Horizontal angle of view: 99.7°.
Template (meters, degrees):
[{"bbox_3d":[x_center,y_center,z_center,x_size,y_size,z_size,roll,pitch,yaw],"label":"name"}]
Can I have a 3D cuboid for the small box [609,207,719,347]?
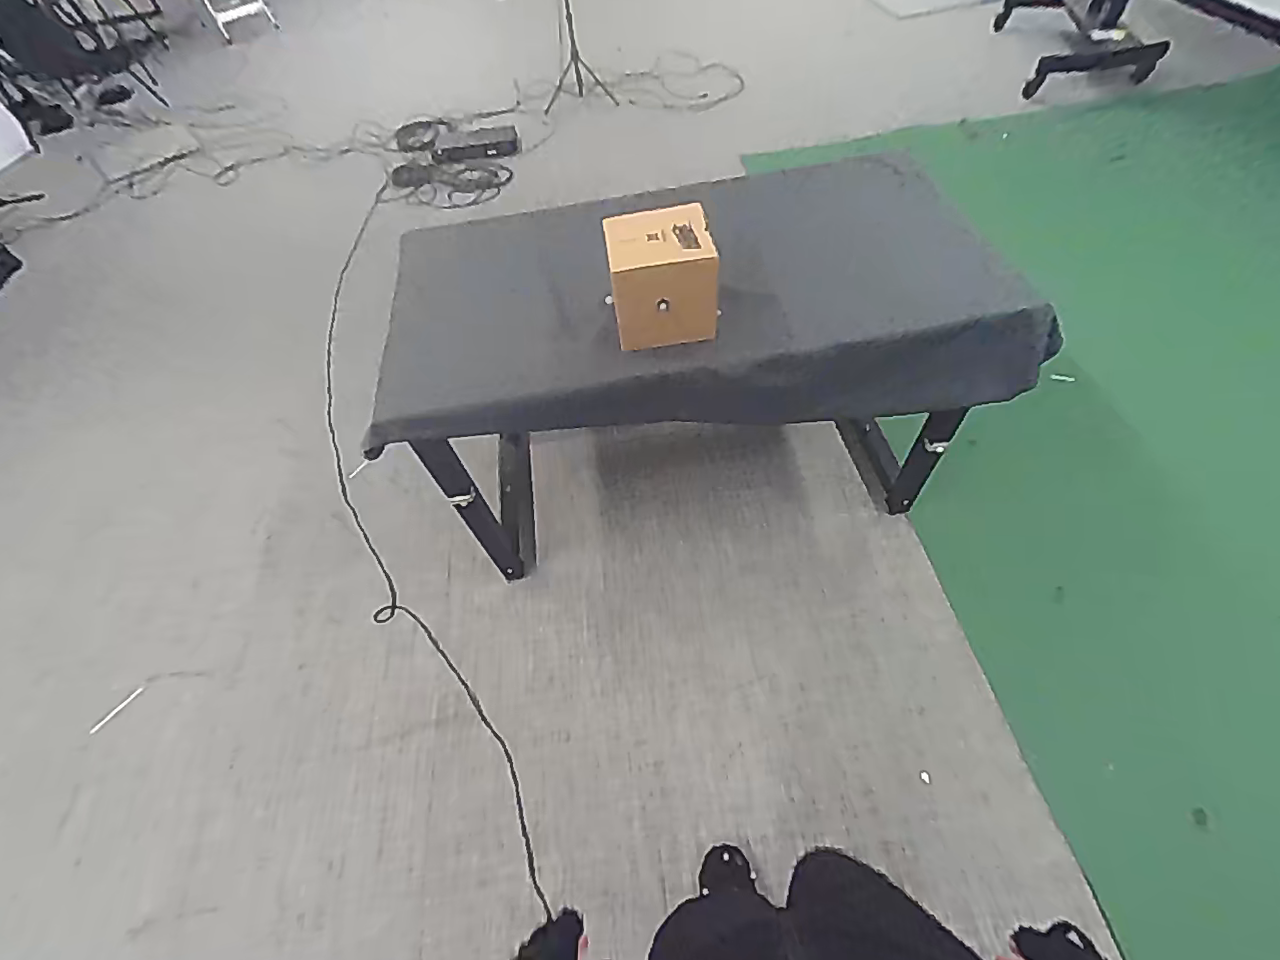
[{"bbox_3d":[0.041,-0.359,0.968,0.179,0.176,0.168,-6,53,2],"label":"small box"}]
